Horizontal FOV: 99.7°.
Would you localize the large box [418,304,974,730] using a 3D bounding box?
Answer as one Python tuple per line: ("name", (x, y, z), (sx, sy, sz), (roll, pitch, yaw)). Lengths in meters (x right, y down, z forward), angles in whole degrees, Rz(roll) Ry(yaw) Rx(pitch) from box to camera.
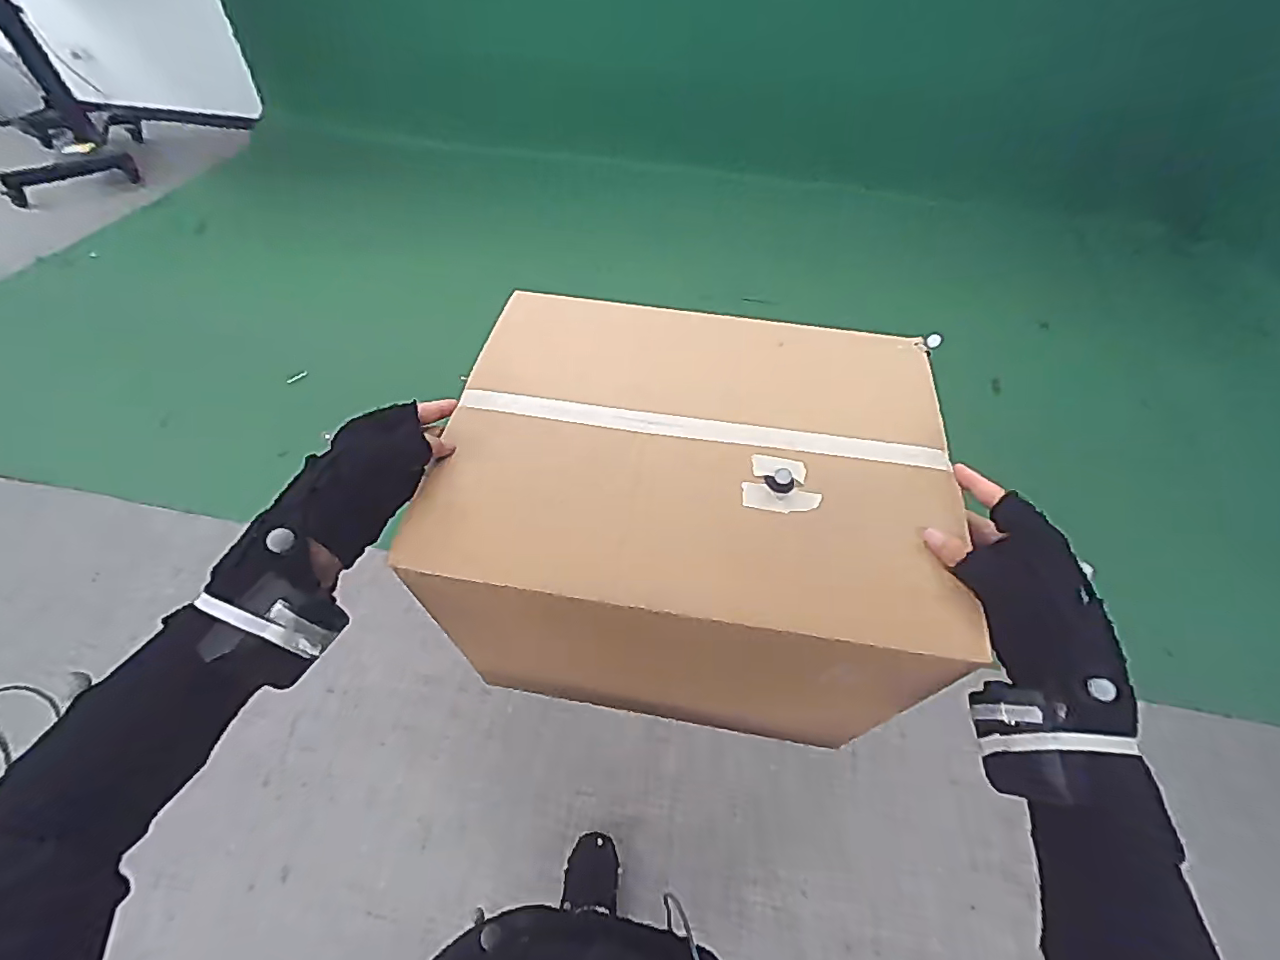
("large box", (0.048, 0.050, 0.584), (0.408, 0.320, 0.320), (8, 55, 3))
